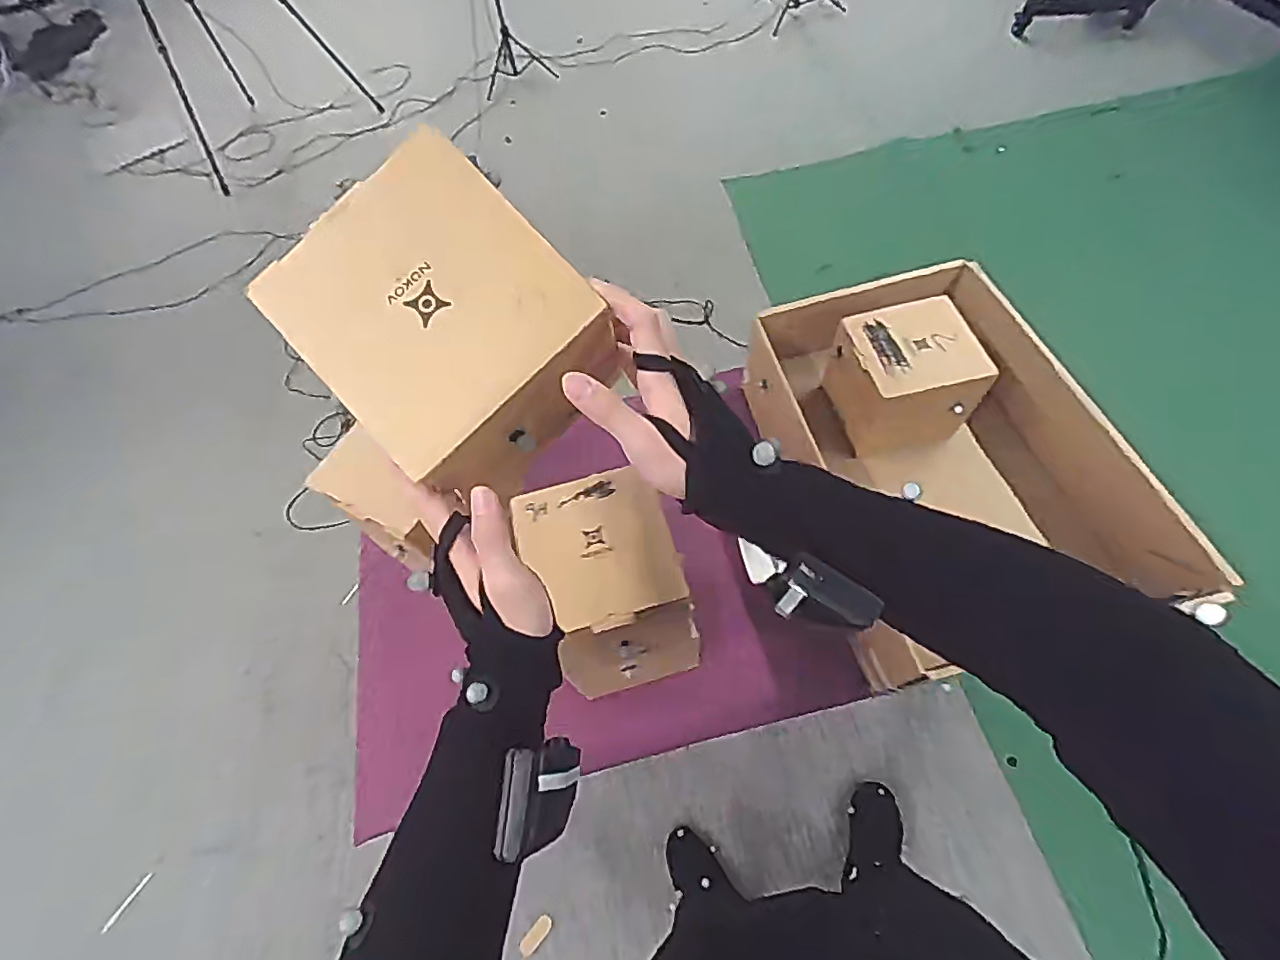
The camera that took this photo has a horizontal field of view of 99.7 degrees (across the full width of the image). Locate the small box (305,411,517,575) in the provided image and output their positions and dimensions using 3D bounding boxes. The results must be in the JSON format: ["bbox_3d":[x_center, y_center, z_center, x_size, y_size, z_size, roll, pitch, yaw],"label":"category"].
[{"bbox_3d":[-0.291,0.004,0.734,0.168,0.176,0.179,25,66,16],"label":"small box"}]

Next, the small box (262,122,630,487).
[{"bbox_3d":[-0.123,-0.110,0.420,0.168,0.176,0.179,-42,85,0],"label":"small box"}]

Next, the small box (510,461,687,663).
[{"bbox_3d":[-0.043,0.108,0.650,0.168,0.176,0.179,-15,60,-4],"label":"small box"}]

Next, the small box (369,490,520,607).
[{"bbox_3d":[-0.282,0.087,0.874,0.179,0.176,0.168,24,65,17],"label":"small box"}]

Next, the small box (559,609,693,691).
[{"bbox_3d":[-0.027,0.193,0.788,0.179,0.176,0.168,-16,60,-4],"label":"small box"}]
